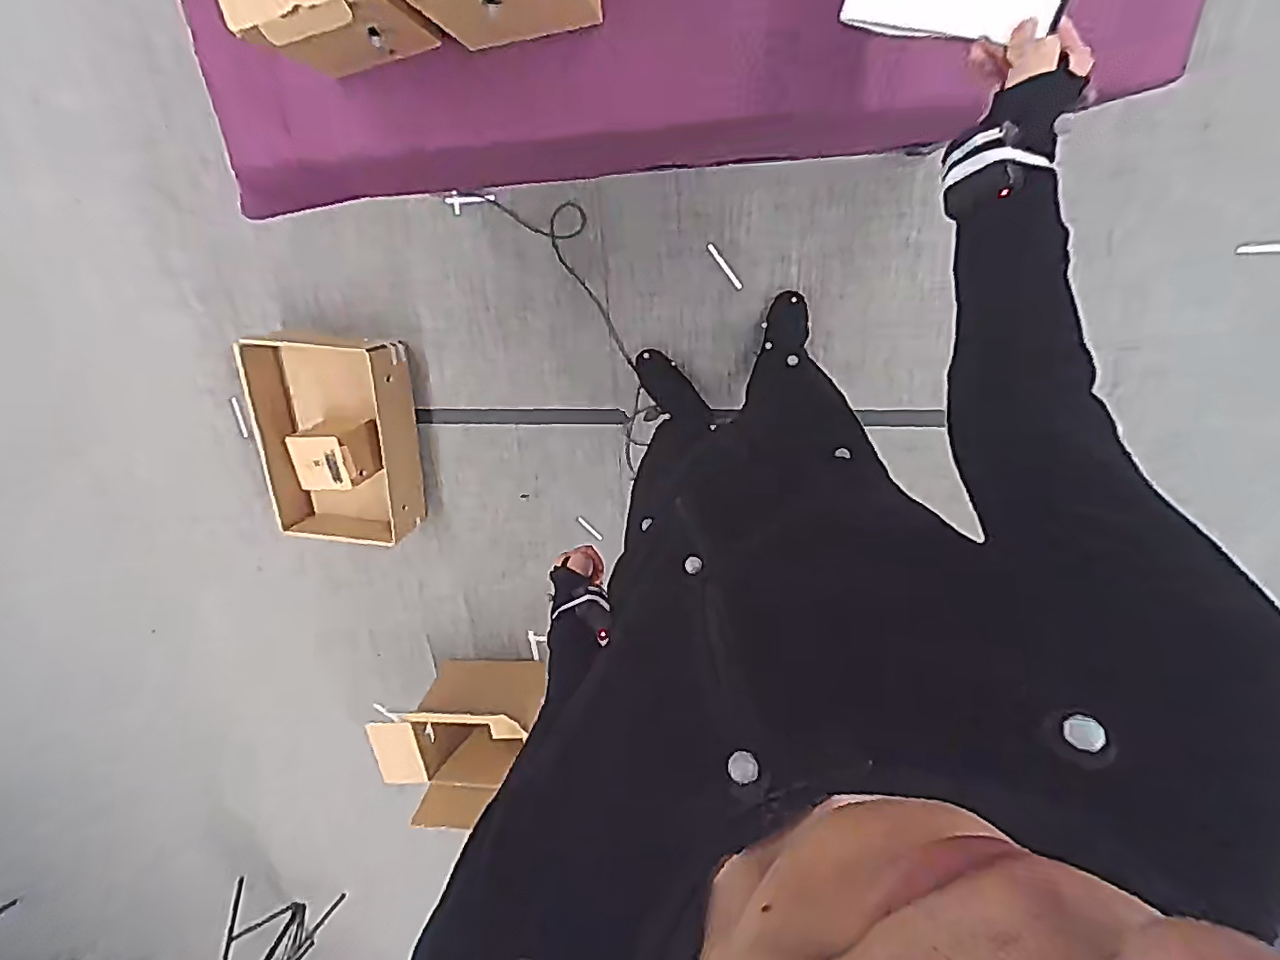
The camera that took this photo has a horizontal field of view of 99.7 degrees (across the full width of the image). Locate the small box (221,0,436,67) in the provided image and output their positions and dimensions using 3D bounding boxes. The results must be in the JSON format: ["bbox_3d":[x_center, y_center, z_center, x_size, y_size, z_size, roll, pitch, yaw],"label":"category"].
[{"bbox_3d":[-0.355,-0.591,0.598,0.168,0.176,0.179,-8,112,10],"label":"small box"}]
